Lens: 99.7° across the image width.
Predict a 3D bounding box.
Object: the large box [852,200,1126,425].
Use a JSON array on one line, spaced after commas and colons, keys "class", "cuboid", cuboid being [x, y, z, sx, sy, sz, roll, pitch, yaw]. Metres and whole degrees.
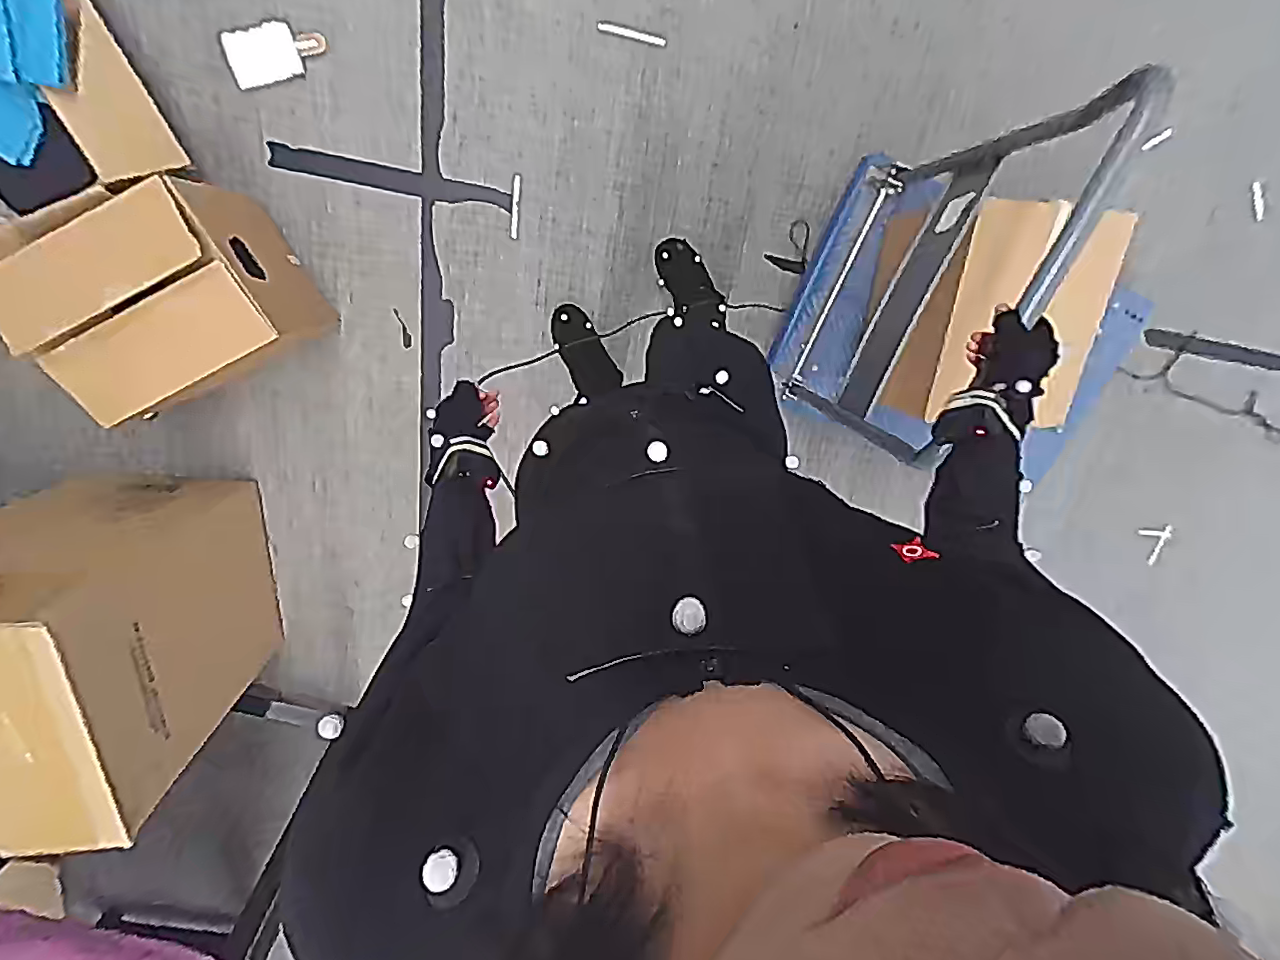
[{"class": "large box", "cuboid": [0.703, -0.356, 1.164, 0.320, 0.320, 0.408, 2, 111, -7]}]
